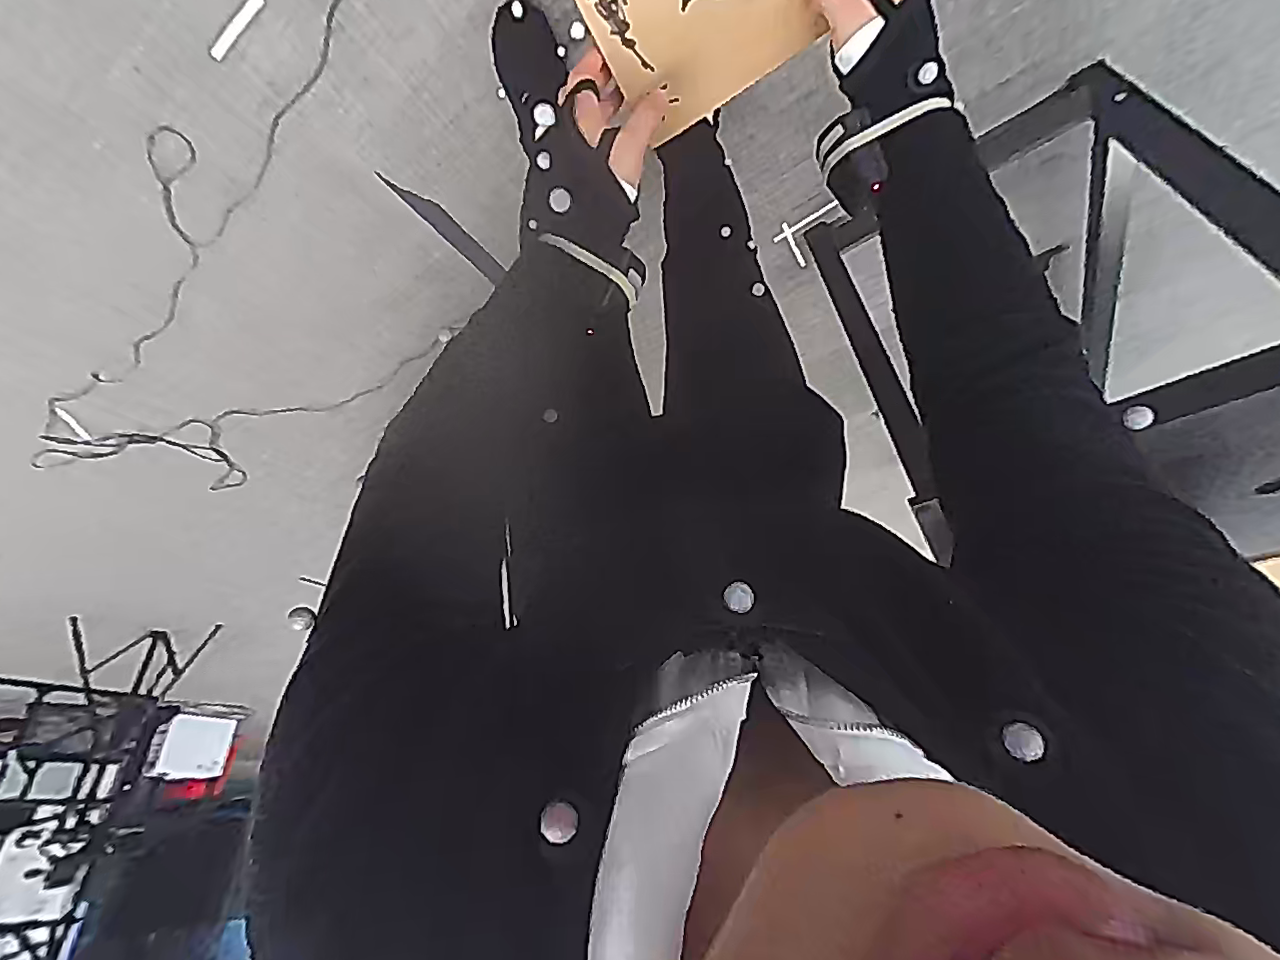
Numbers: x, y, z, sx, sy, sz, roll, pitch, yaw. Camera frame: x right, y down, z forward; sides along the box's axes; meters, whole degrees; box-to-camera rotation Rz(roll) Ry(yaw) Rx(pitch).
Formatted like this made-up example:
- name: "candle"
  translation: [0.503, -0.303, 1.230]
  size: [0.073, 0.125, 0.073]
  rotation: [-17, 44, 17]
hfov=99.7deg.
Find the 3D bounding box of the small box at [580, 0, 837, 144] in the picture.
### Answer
- name: "small box"
  translation: [0.036, -0.439, 0.457]
  size: [0.179, 0.176, 0.168]
  rotation: [-26, 137, 17]
